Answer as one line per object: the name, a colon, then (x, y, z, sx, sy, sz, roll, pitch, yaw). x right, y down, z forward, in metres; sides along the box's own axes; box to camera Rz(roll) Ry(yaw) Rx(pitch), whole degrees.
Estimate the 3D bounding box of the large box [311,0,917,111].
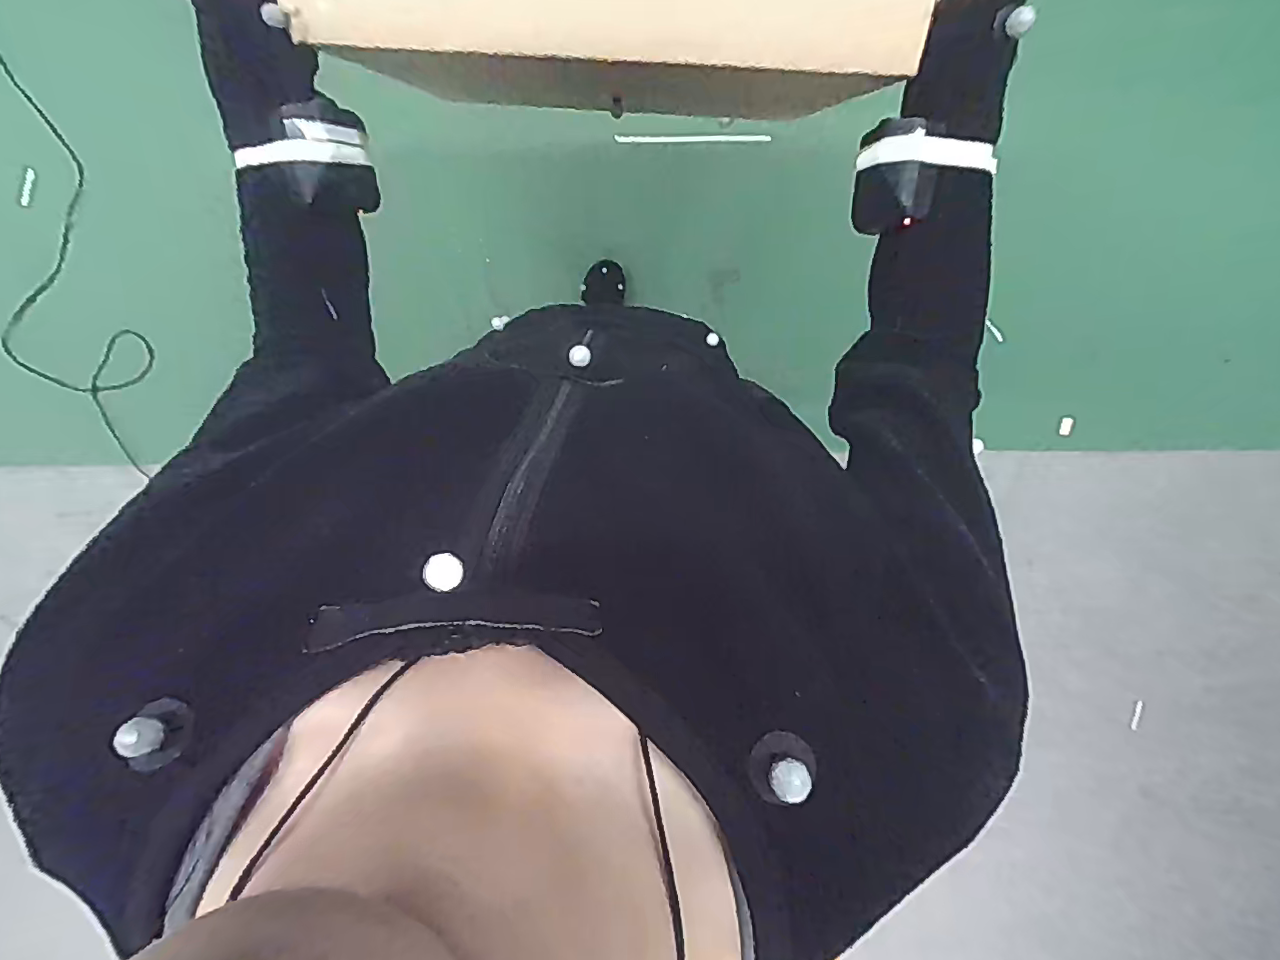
large box: (-0.012, -0.490, 0.423, 0.408, 0.320, 0.320, 2, 119, -1)
